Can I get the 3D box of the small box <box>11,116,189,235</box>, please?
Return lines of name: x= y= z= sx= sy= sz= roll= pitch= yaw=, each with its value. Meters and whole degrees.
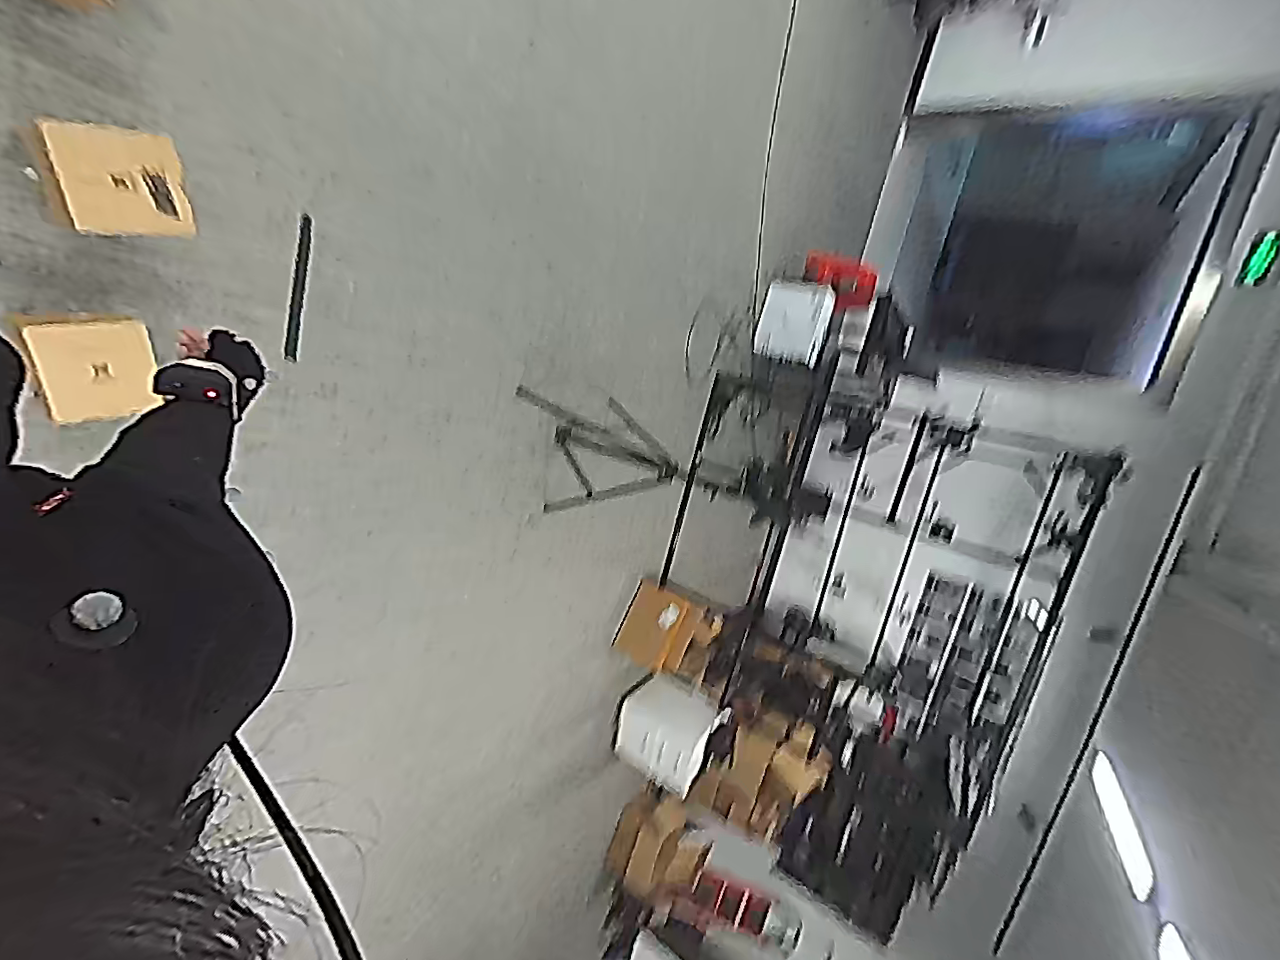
small box: x=-0.979 y=-0.549 z=0.988 sx=0.179 sy=0.176 sz=0.168 roll=-26 pitch=128 yaw=-49

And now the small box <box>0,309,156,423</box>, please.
small box: x=-1.072 y=-0.224 z=1.027 sx=0.168 sy=0.176 sz=0.179 roll=-27 pitch=128 yaw=-51

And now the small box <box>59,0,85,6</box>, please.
small box: x=-0.944 y=-0.902 z=0.850 sx=0.168 sy=0.176 sz=0.179 roll=27 pitch=83 yaw=-60
